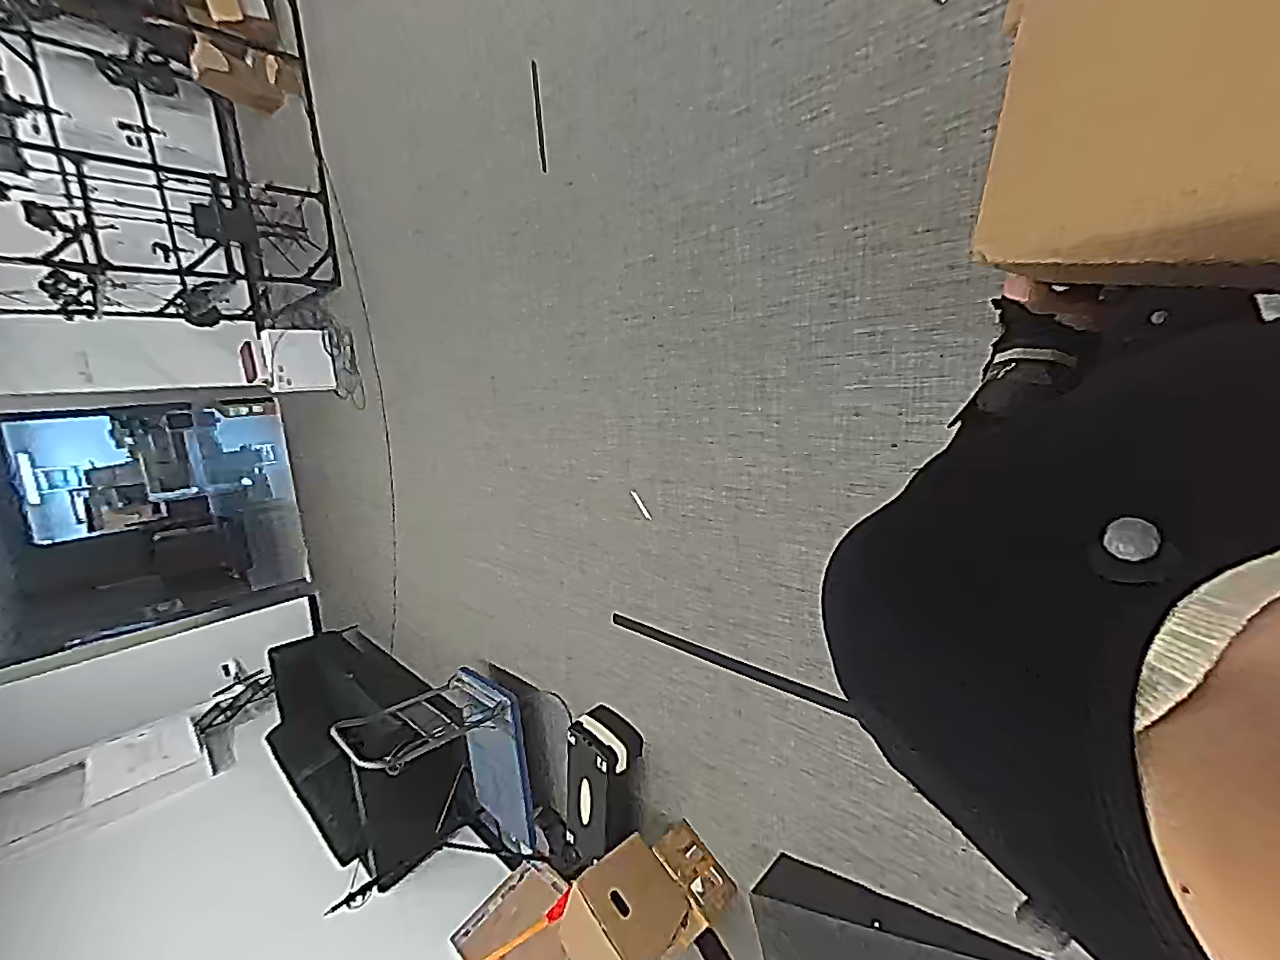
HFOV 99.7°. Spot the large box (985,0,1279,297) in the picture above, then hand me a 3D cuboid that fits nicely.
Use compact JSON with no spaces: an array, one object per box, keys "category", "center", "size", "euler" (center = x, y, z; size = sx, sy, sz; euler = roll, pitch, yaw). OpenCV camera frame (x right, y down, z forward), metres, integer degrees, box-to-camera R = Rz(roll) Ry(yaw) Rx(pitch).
[{"category":"large box","center":[0.471,-0.264,0.279],"size":[0.408,0.320,0.320],"euler":[19,115,41]}]
